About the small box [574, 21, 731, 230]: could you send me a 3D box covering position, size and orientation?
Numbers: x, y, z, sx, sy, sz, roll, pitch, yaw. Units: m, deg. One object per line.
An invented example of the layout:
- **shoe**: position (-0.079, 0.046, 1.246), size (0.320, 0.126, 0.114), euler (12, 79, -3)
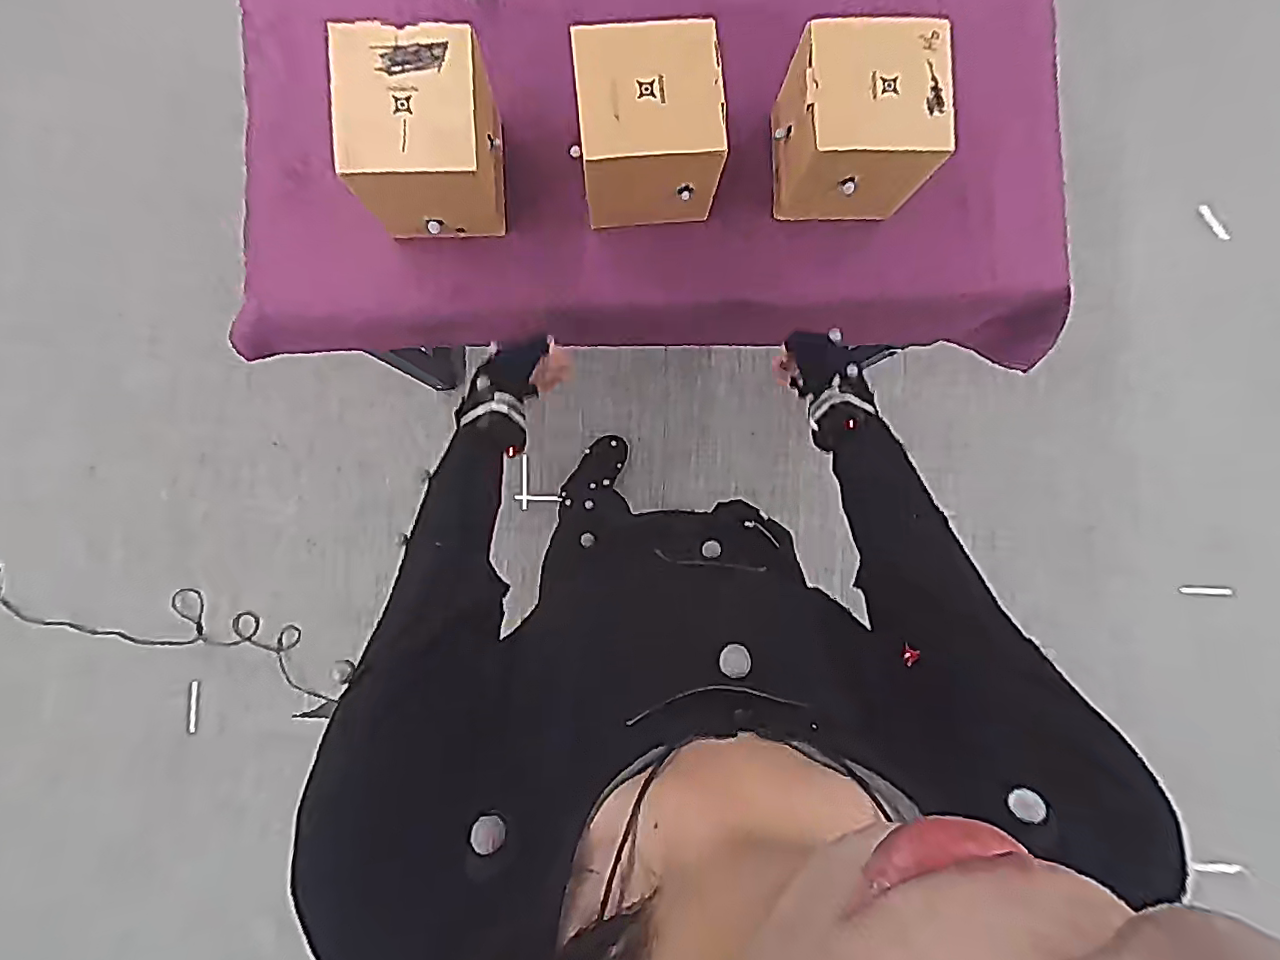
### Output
- **small box**: position (0.012, -0.460, 0.725), size (0.179, 0.176, 0.168), euler (-7, 87, -1)

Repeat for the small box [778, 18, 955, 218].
- **small box**: position (0.291, -0.475, 0.734), size (0.179, 0.176, 0.168), euler (-2, 89, -1)
